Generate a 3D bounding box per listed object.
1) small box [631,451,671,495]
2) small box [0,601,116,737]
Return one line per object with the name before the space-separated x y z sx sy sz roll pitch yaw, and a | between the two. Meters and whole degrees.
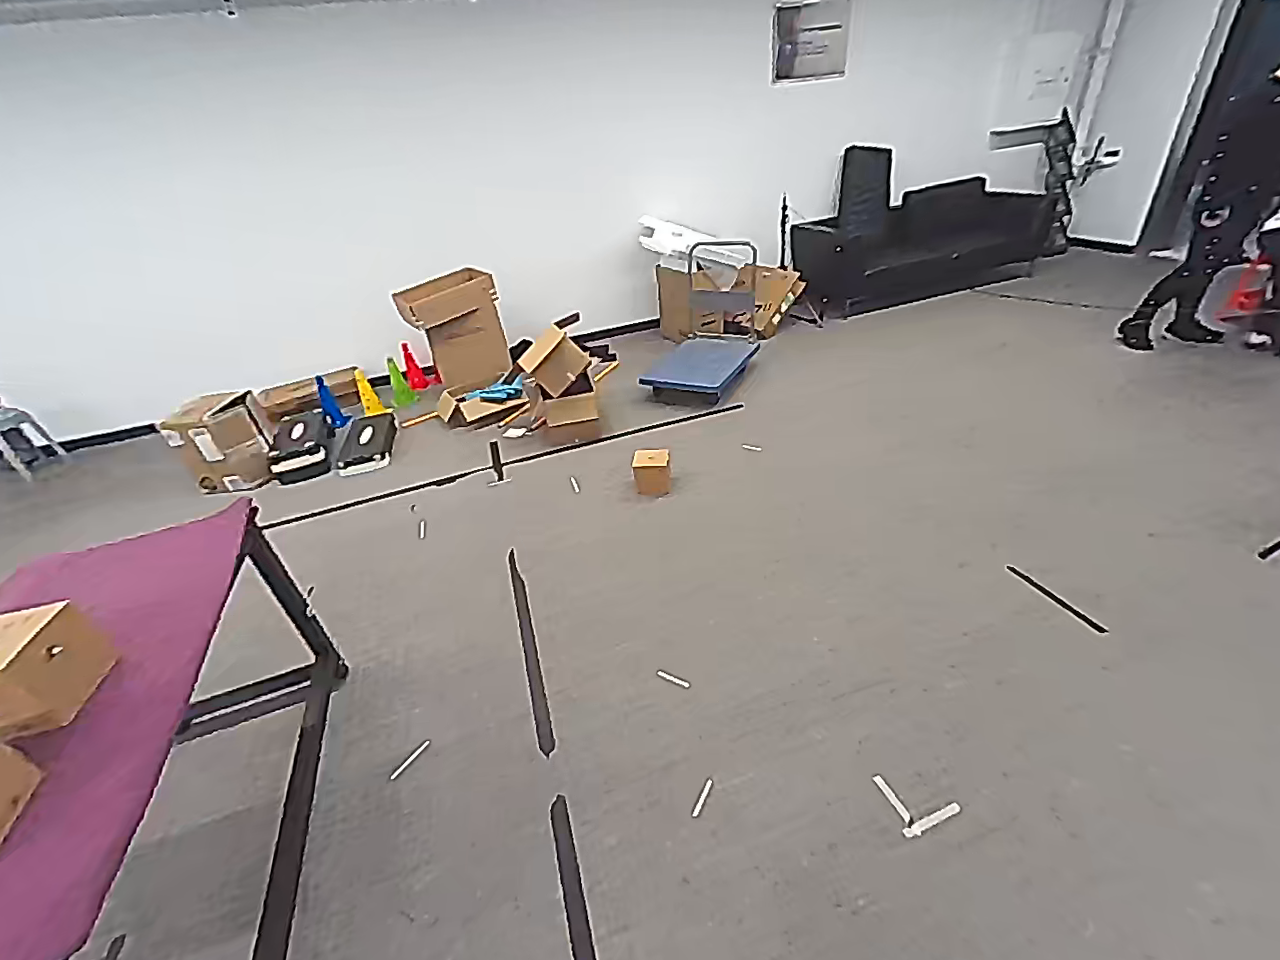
small box | 0.060 -0.035 2.799 0.179 0.176 0.168 -1 32 9
small box | -1.176 0.366 1.032 0.168 0.176 0.179 -11 32 -7
